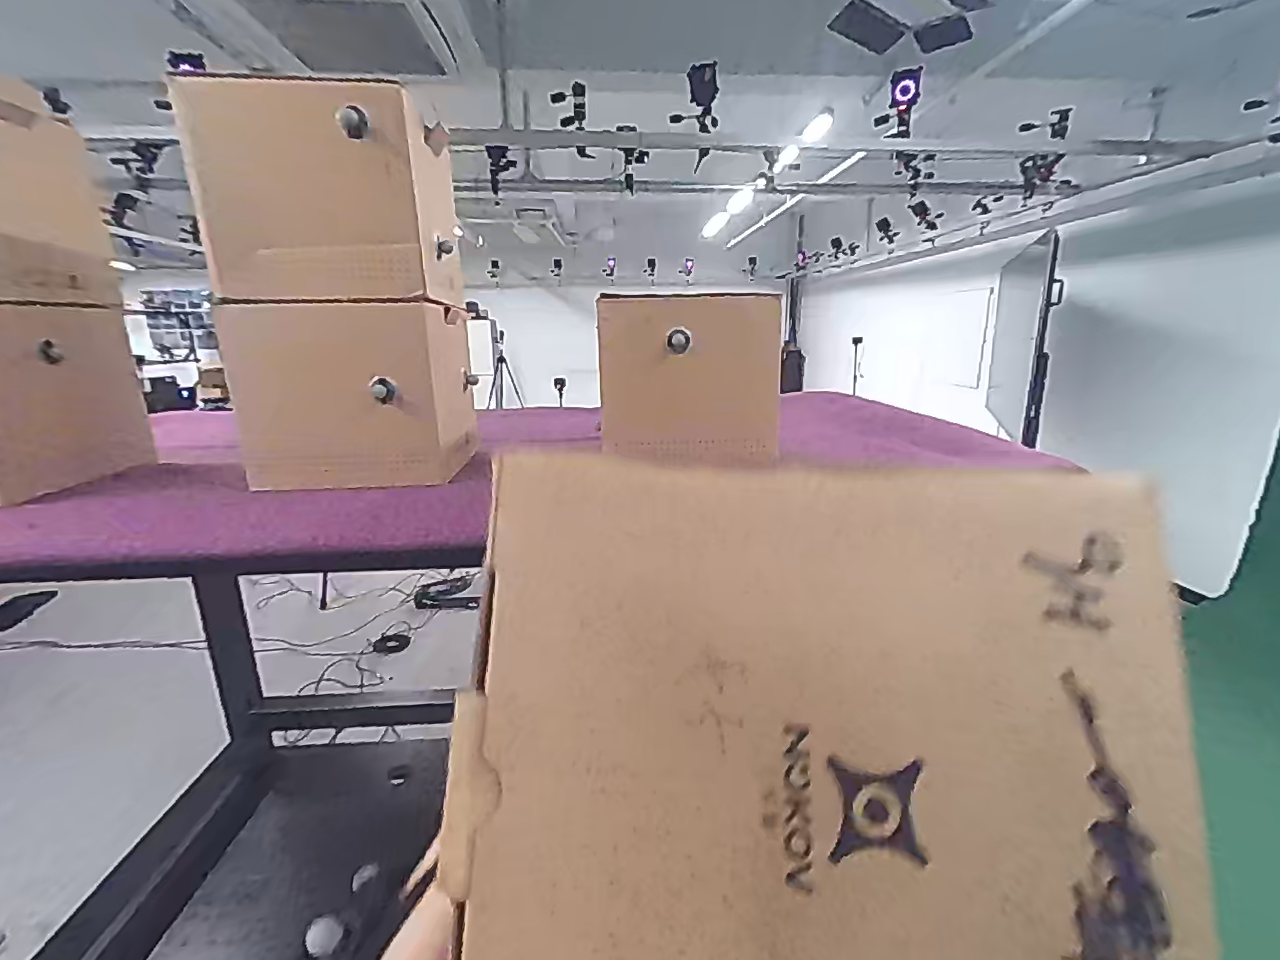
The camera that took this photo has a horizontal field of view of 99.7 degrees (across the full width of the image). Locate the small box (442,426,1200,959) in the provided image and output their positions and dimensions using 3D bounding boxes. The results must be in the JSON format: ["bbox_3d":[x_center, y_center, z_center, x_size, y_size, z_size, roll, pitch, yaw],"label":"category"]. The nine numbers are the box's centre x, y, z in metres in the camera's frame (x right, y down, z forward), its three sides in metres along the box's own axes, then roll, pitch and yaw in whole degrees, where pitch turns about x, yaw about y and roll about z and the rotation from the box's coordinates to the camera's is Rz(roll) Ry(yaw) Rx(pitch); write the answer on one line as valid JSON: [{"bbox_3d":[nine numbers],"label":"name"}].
[{"bbox_3d":[0.043,0.081,0.209,0.179,0.168,0.176,2,-7,0],"label":"small box"}]

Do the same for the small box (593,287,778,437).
[{"bbox_3d":[0.044,-0.110,0.593,0.179,0.176,0.168,-2,13,-2],"label":"small box"}]

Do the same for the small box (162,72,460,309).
[{"bbox_3d":[-0.281,-0.247,0.509,0.179,0.176,0.168,-3,15,-6],"label":"small box"}]

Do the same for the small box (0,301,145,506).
[{"bbox_3d":[-0.614,-0.073,0.495,0.168,0.176,0.179,-1,16,-6],"label":"small box"}]

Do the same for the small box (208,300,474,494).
[{"bbox_3d":[-0.276,-0.089,0.548,0.179,0.176,0.168,-3,15,-5],"label":"small box"}]
